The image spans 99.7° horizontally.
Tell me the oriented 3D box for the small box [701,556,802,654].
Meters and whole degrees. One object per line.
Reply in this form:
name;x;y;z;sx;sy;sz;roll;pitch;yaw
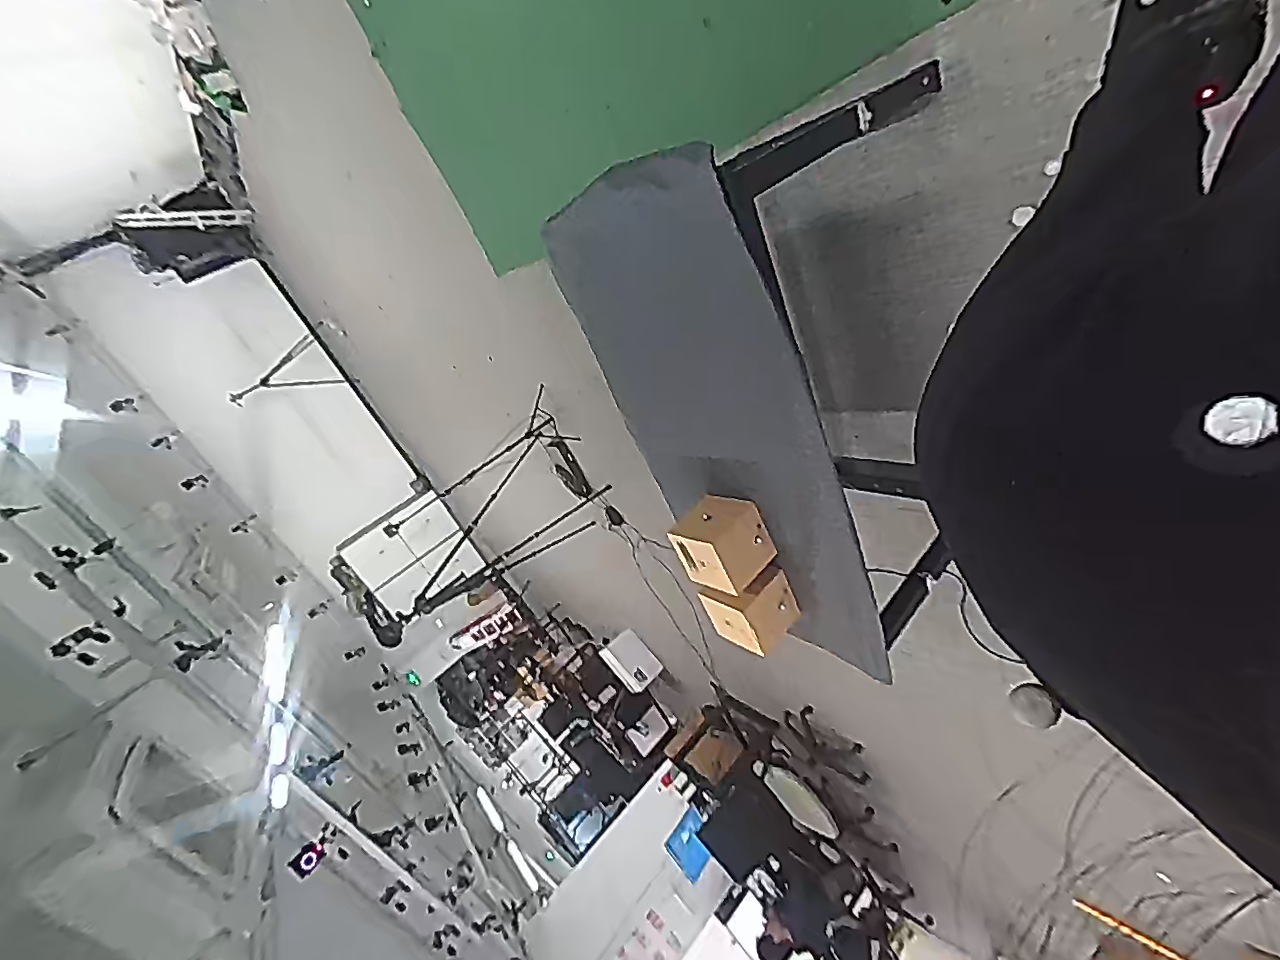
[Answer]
small box;0.302;0.328;1.460;0.179;0.176;0.168;11;134;54
